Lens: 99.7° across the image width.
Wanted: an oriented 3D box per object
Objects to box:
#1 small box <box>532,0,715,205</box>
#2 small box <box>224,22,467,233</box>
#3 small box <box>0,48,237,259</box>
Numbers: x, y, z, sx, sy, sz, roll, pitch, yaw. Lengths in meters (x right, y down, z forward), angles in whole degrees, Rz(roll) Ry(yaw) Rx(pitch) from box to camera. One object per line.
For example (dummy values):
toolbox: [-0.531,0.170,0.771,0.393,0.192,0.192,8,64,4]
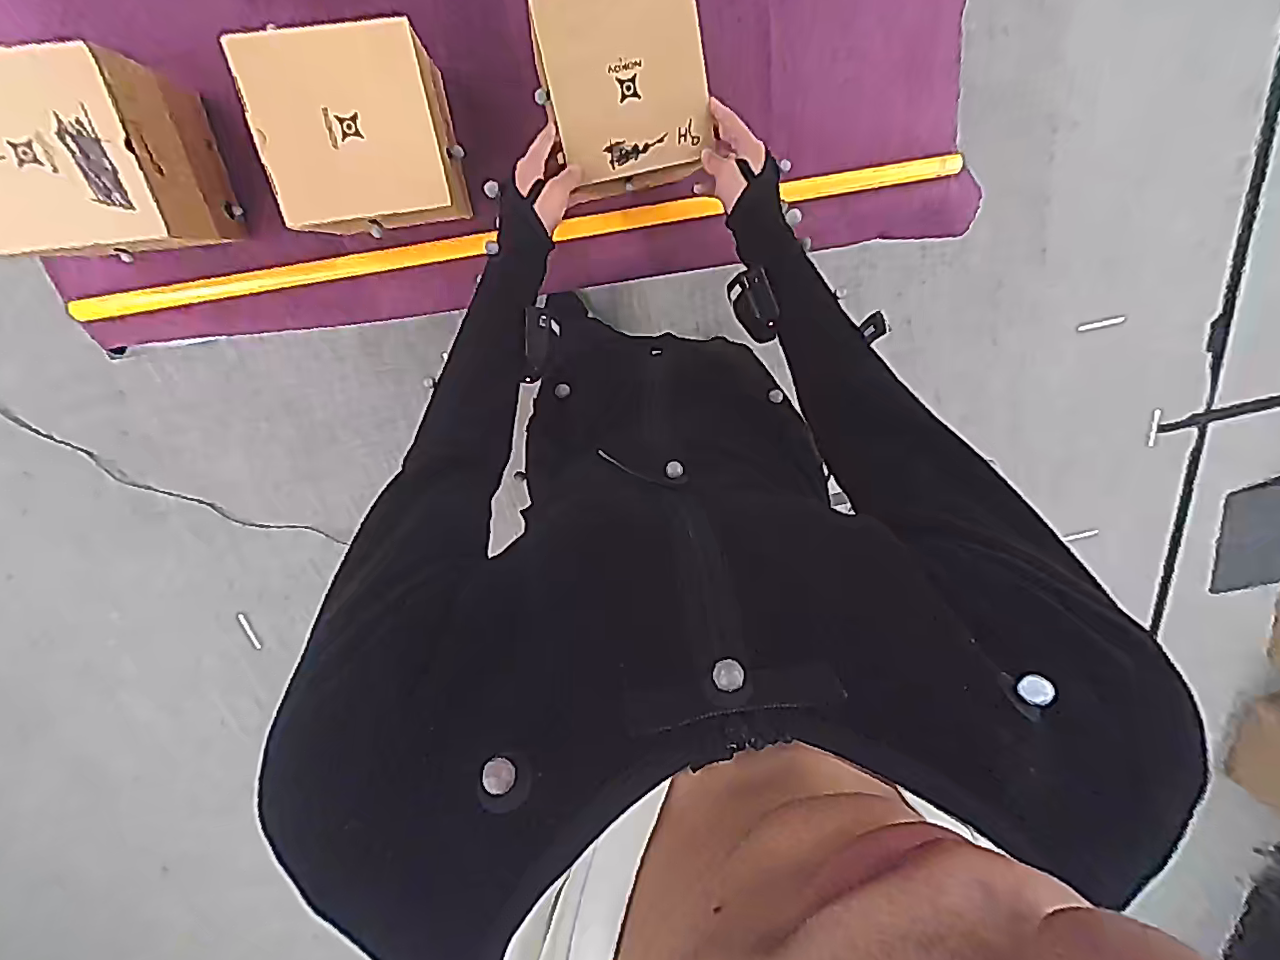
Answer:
small box: [-0.024,-0.440,0.629,0.168,0.176,0.179,-14,112,-3]
small box: [-0.305,-0.382,0.614,0.179,0.176,0.168,-10,113,-3]
small box: [-0.584,-0.339,0.587,0.179,0.176,0.168,-9,114,-5]
